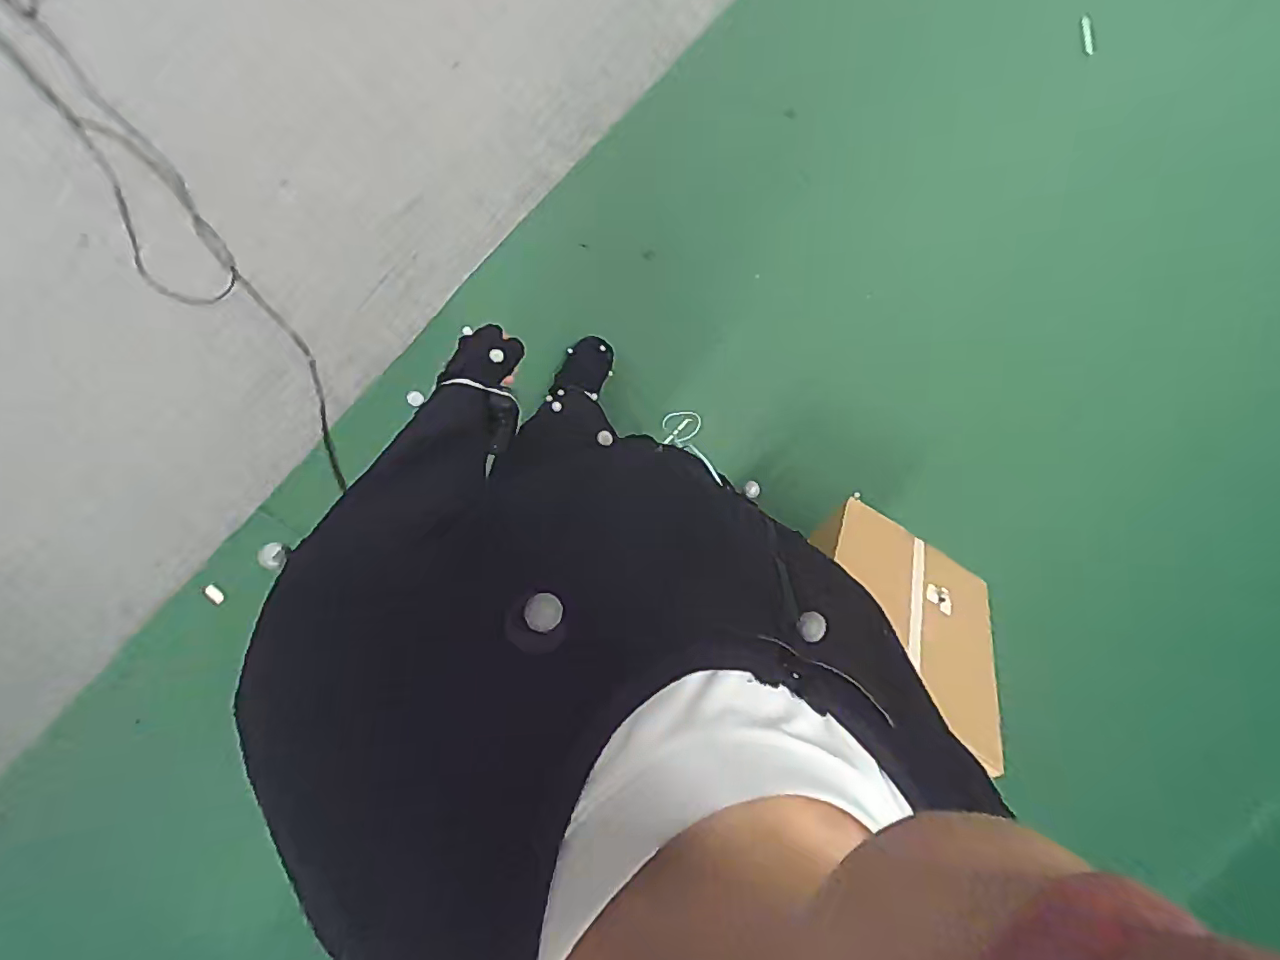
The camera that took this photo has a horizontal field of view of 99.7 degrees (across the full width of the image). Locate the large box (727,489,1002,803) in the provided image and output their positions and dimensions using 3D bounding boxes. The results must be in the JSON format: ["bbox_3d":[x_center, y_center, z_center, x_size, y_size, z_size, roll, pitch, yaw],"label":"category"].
[{"bbox_3d":[0.410,0.301,1.022,0.320,0.408,0.320,33,132,4],"label":"large box"}]
